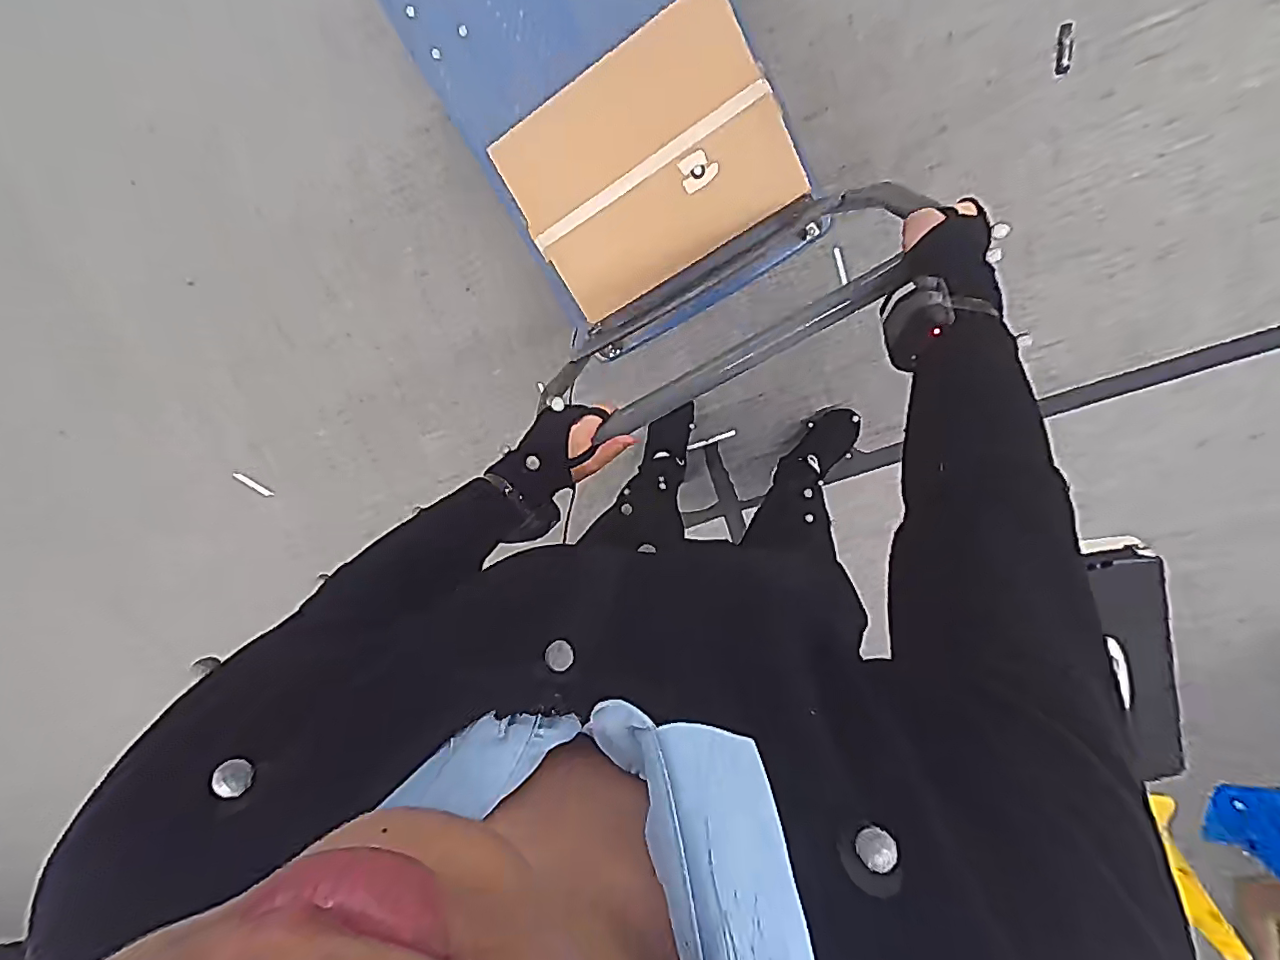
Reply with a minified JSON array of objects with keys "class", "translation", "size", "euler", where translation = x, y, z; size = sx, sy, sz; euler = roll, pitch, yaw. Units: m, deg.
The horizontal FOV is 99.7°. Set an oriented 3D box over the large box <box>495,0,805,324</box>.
[{"class":"large box","translation":[0.025,-0.532,0.979],"size":[0.408,0.320,0.320],"euler":[-28,107,15]}]
